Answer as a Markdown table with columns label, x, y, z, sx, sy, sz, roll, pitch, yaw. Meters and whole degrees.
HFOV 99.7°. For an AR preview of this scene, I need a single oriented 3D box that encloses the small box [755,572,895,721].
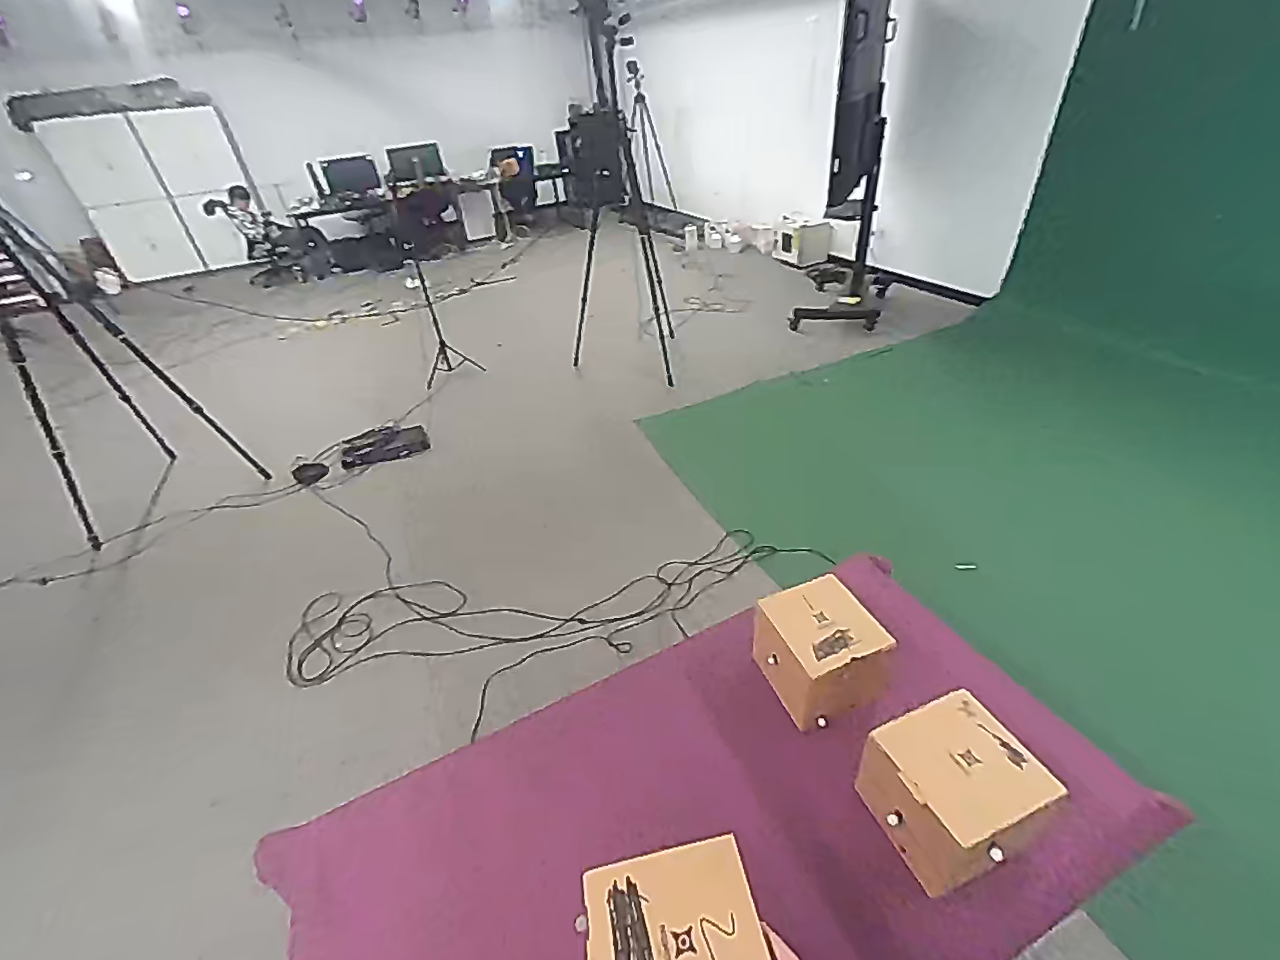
| label | x | y | z | sx | sy | sz | roll | pitch | yaw |
| --- | --- | --- | --- | --- | --- | --- | --- | --- | --- |
| small box | 0.321 | 0.304 | 0.974 | 0.168 | 0.176 | 0.179 | -16 | 37 | -13 |

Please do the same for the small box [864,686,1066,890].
| label | x | y | z | sx | sy | sz | roll | pitch | yaw |
| --- | --- | --- | --- | --- | --- | --- | --- | --- | --- |
| small box | 0.443 | 0.438 | 0.772 | 0.179 | 0.176 | 0.168 | -17 | 37 | -13 |
